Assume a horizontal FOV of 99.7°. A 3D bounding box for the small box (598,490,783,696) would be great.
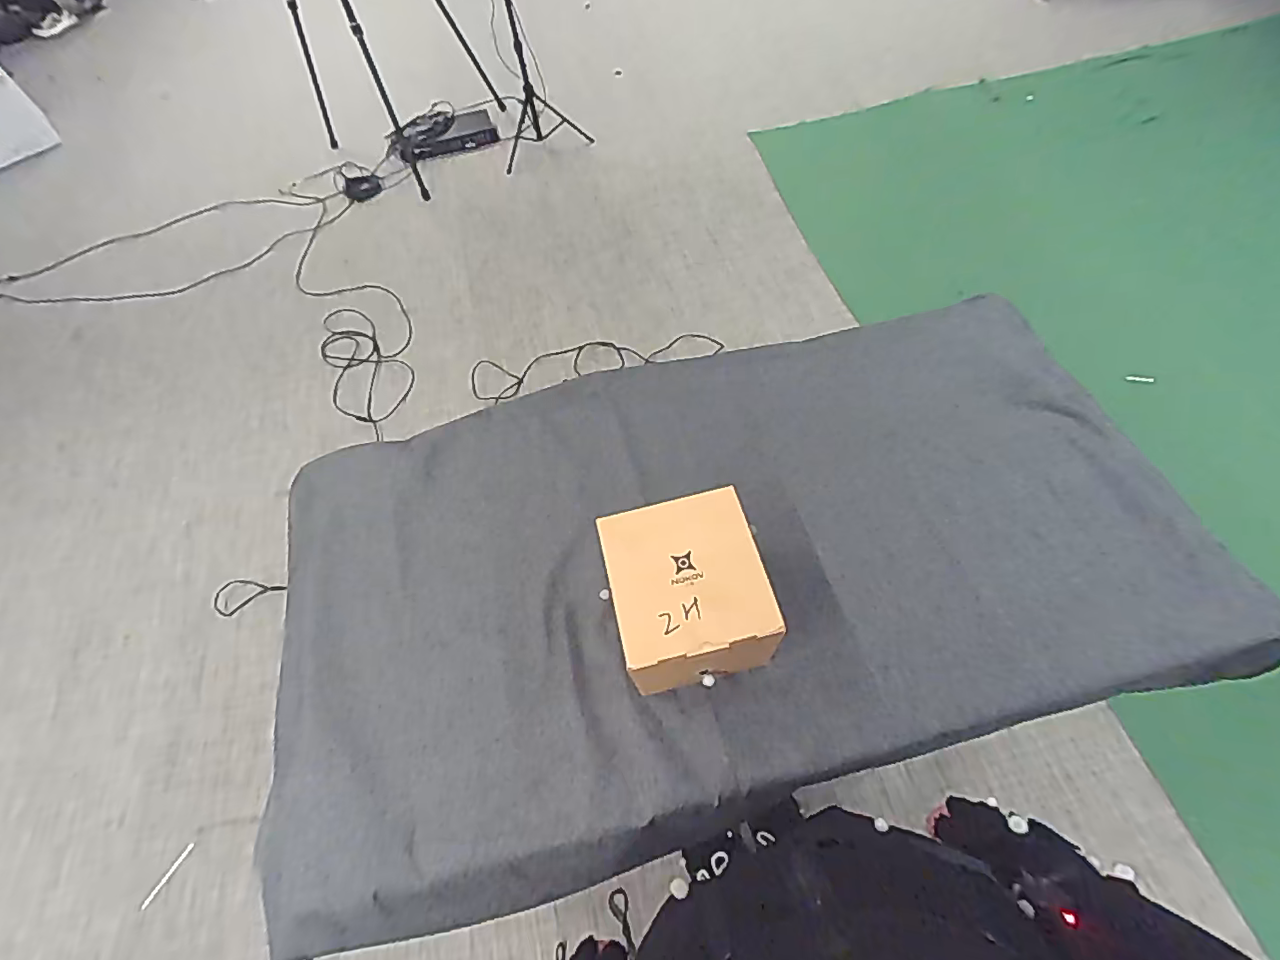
[{"bbox_3d":[0.054,0.141,0.648,0.168,0.176,0.179,-14,60,-2],"label":"small box"}]
